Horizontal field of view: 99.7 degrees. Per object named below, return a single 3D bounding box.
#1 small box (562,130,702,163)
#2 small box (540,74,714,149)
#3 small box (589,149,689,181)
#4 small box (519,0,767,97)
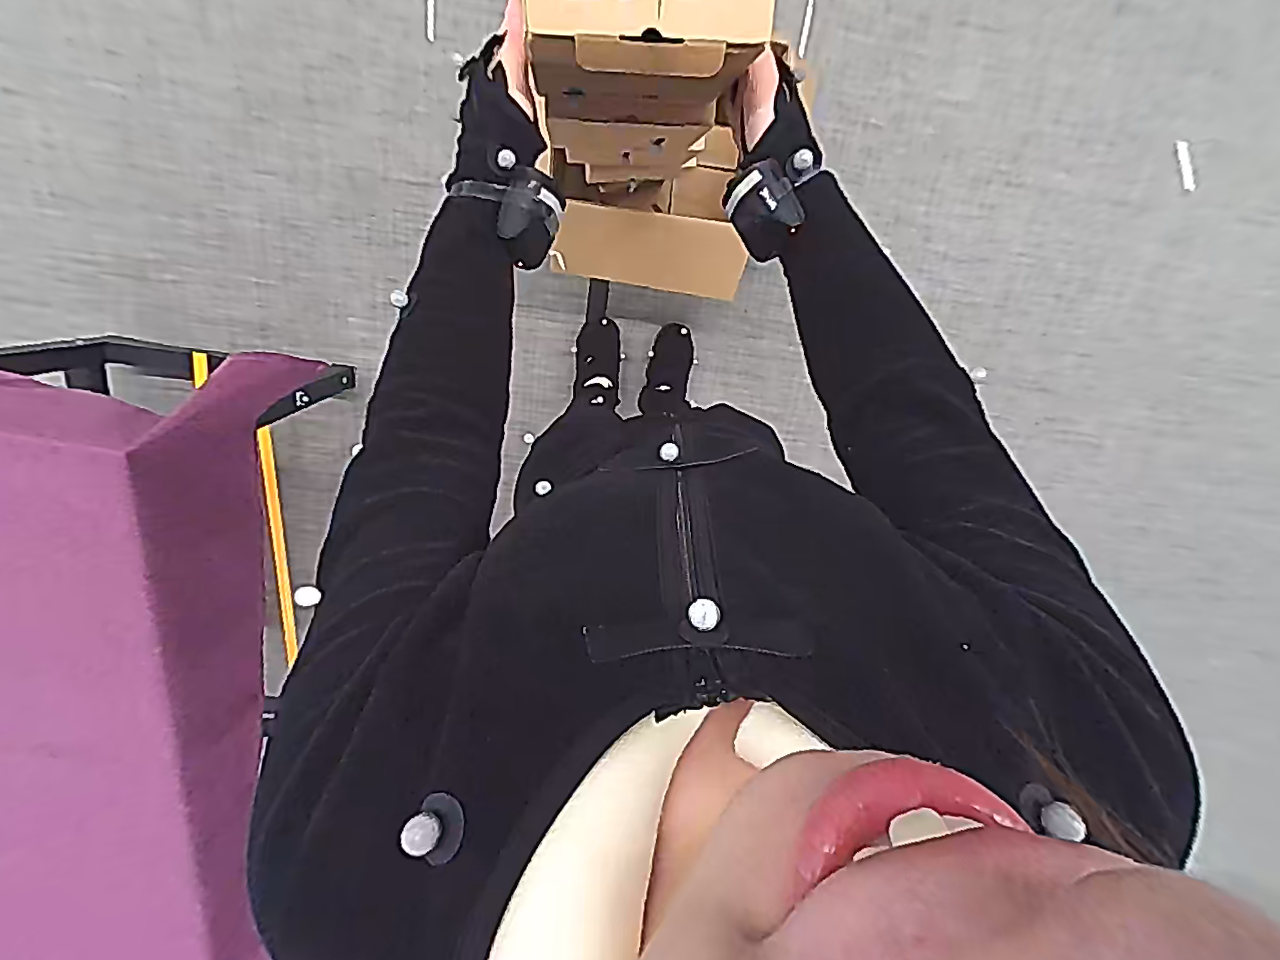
[{"bbox_3d":[-0.015,-0.519,0.705,0.179,0.176,0.168,-2,115,-6],"label":"small box"},{"bbox_3d":[-0.016,-0.453,0.555,0.168,0.176,0.179,-1,114,-7],"label":"small box"},{"bbox_3d":[-0.019,-0.668,0.999,0.179,0.176,0.168,-15,114,-1],"label":"small box"},{"bbox_3d":[-0.004,-0.404,0.398,0.168,0.176,0.179,-2,114,-7],"label":"small box"}]
